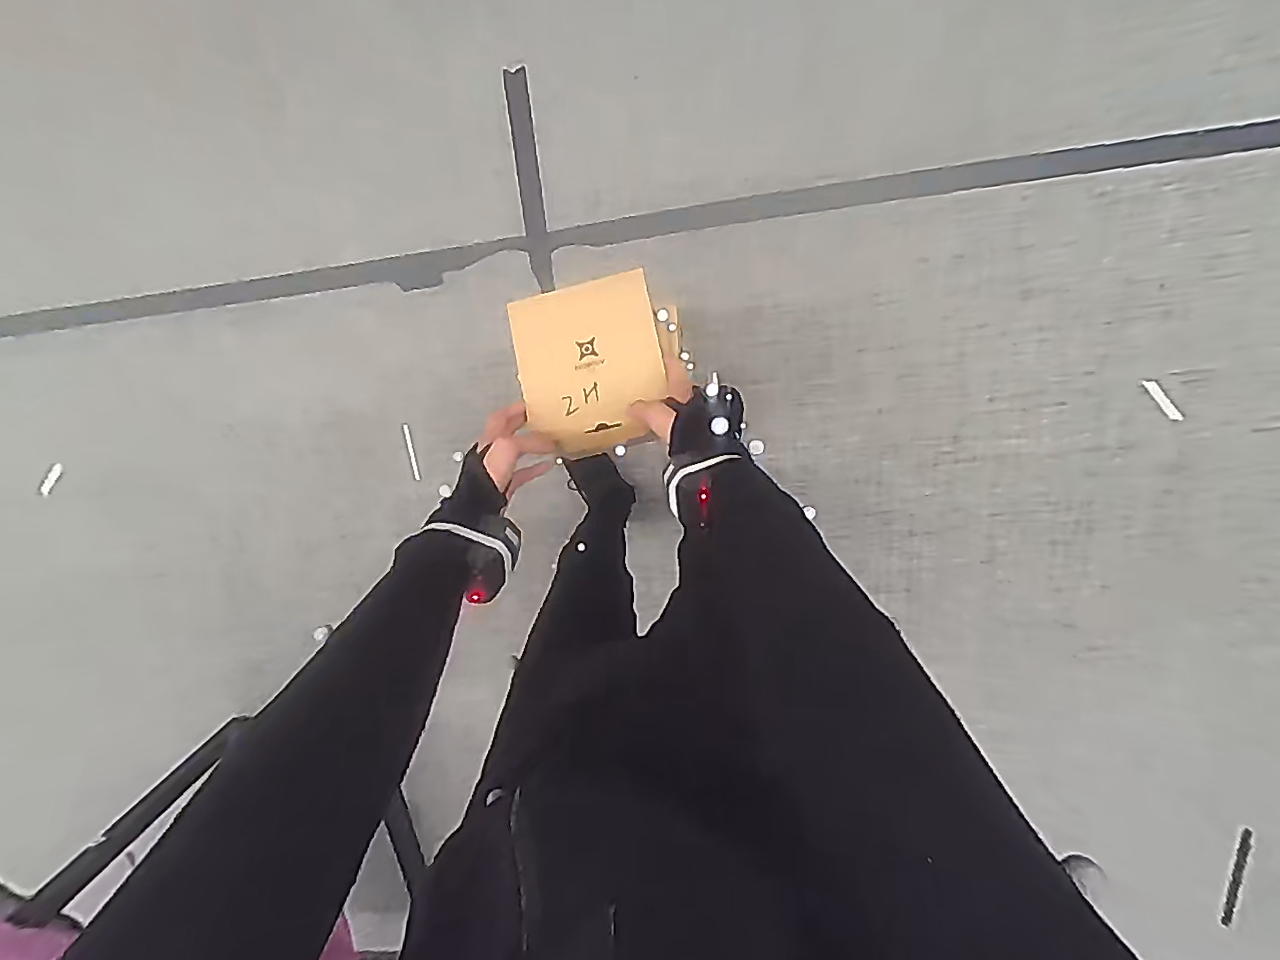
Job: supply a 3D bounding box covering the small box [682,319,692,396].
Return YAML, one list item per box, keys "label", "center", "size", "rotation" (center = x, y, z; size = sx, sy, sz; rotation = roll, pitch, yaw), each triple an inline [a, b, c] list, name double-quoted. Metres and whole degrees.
- label: "small box"
  center: [0.022, -0.273, 1.218]
  size: [0.179, 0.176, 0.168]
  rotation: [-7, 107, 8]

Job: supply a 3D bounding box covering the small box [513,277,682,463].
- label: "small box"
  center: [-0.045, -0.128, 0.696]
  size: [0.168, 0.176, 0.179]
  rotation: [-12, 86, 7]

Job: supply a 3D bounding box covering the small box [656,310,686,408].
- label: "small box"
  center: [0.003, -0.236, 1.061]
  size: [0.168, 0.176, 0.179]
  rotation: [-3, 108, 6]
